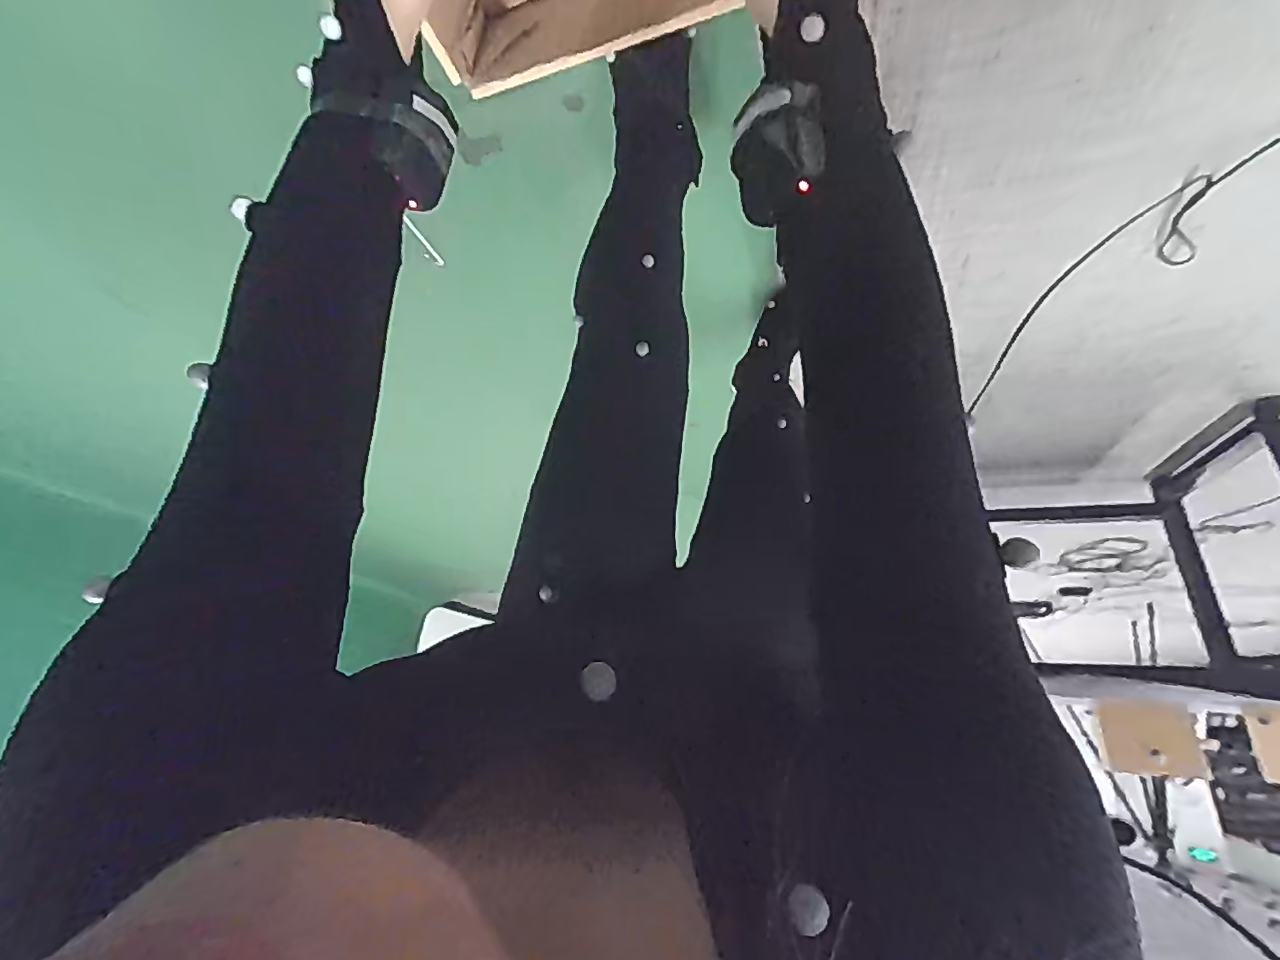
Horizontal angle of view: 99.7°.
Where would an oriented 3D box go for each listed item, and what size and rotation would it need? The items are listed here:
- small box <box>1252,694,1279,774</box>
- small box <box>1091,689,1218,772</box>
[{"bbox_3d":[1.500,0.557,1.172,0.168,0.176,0.179,-7,155,22],"label":"small box"},{"bbox_3d":[1.236,0.602,1.314,0.179,0.176,0.168,-11,153,32],"label":"small box"}]
